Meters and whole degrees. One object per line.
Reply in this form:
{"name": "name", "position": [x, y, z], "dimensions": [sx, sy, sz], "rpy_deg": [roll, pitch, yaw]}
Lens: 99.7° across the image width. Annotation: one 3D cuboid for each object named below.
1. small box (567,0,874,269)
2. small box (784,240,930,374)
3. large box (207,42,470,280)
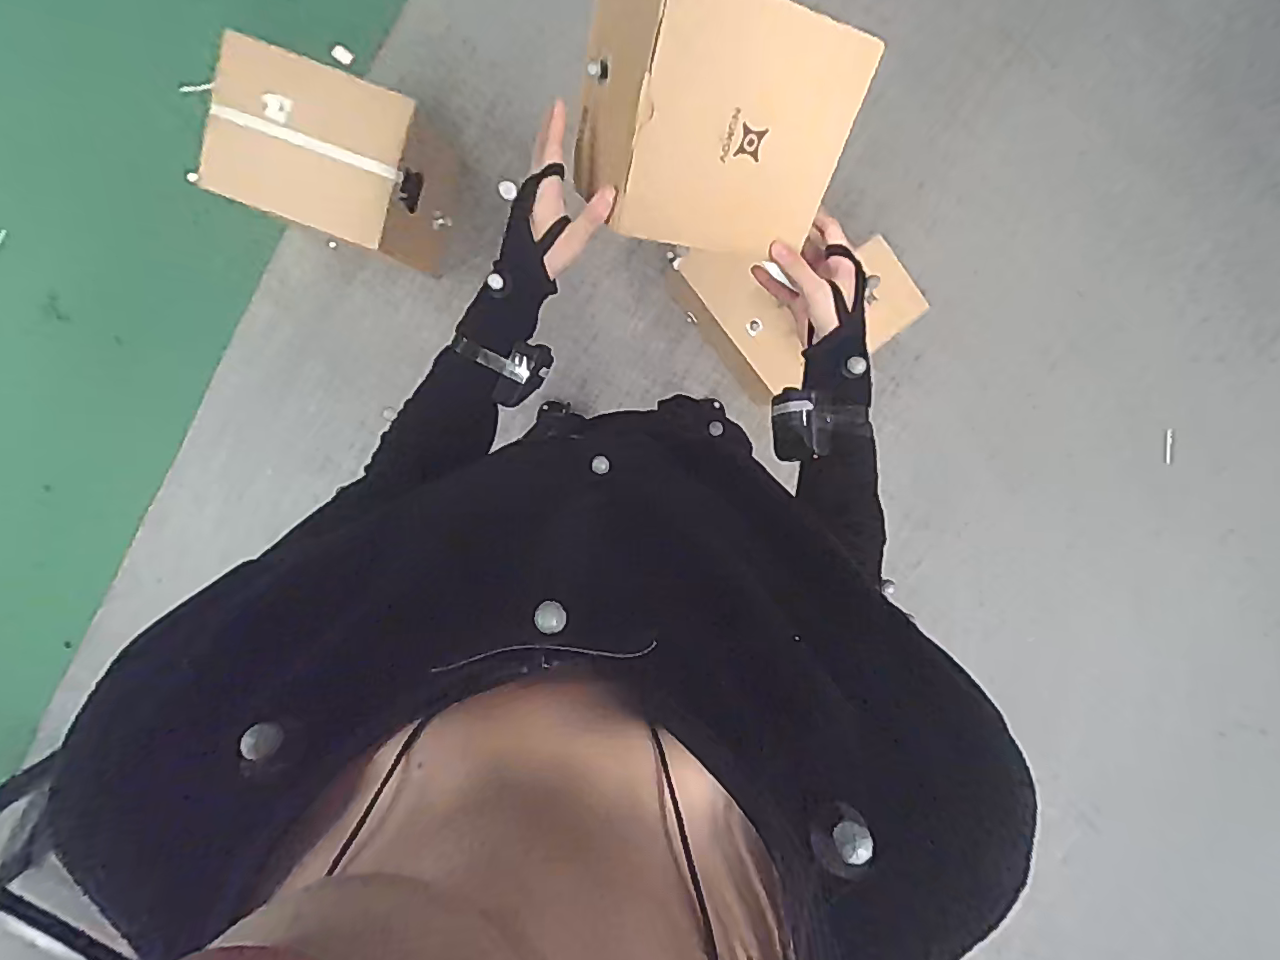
{"name": "small box", "position": [0.049, -0.300, 0.462], "dimensions": [0.179, 0.176, 0.168], "rpy_deg": [-1, 128, -22]}
{"name": "small box", "position": [0.410, -0.325, 1.053], "dimensions": [0.179, 0.176, 0.168], "rpy_deg": [-37, 96, 5]}
{"name": "large box", "position": [-0.673, -0.706, 1.264], "dimensions": [0.408, 0.320, 0.320], "rpy_deg": [20, 98, -1]}
